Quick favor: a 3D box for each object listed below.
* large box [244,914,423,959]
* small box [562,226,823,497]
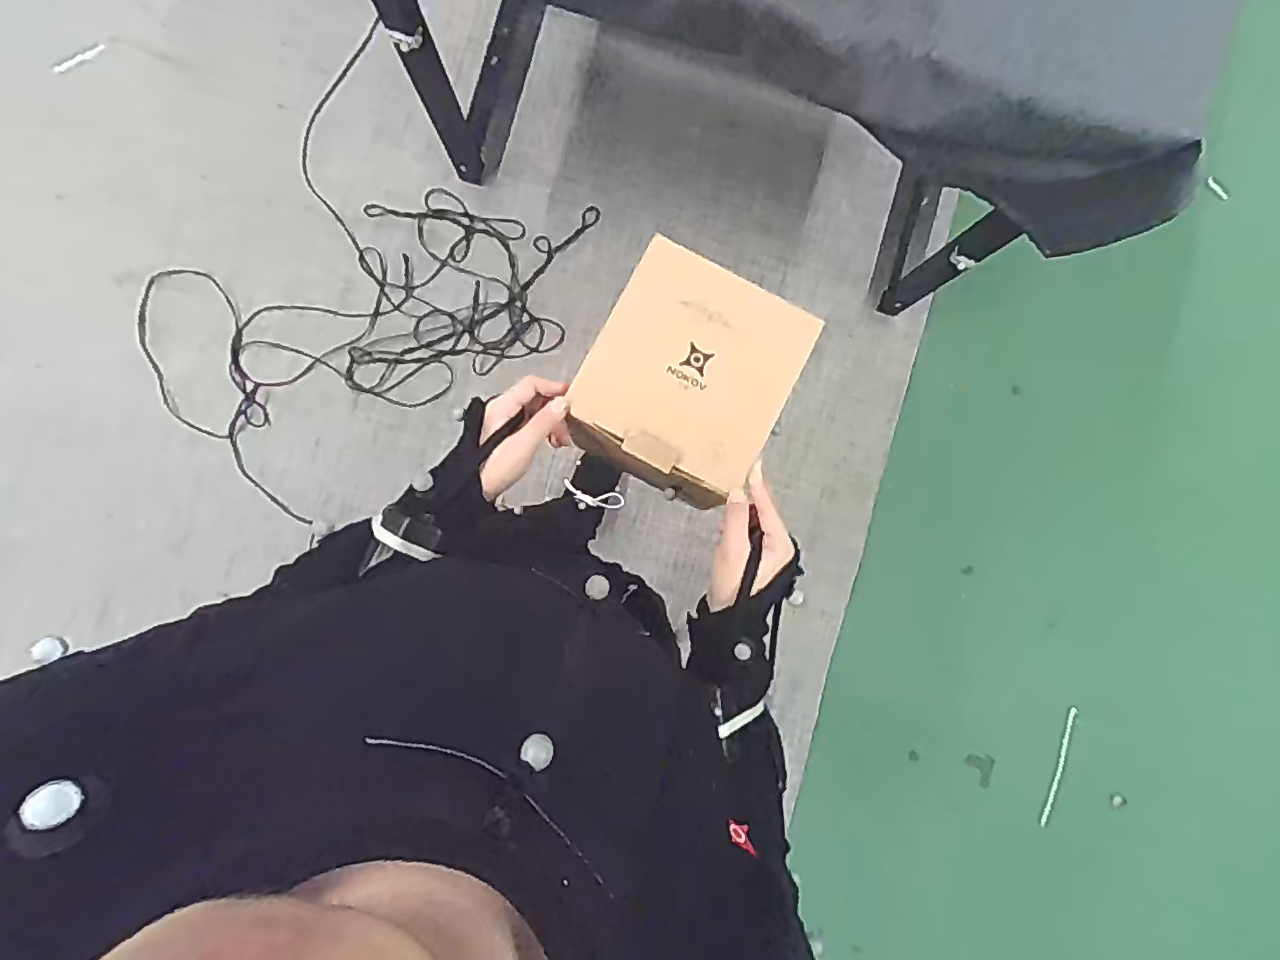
[{"bbox_3d":[-0.723,1.245,1.155,0.408,0.320,0.320,21,87,-1],"label":"large box"},{"bbox_3d":[0.042,-0.095,0.527,0.168,0.176,0.179,27,83,-1],"label":"small box"}]
